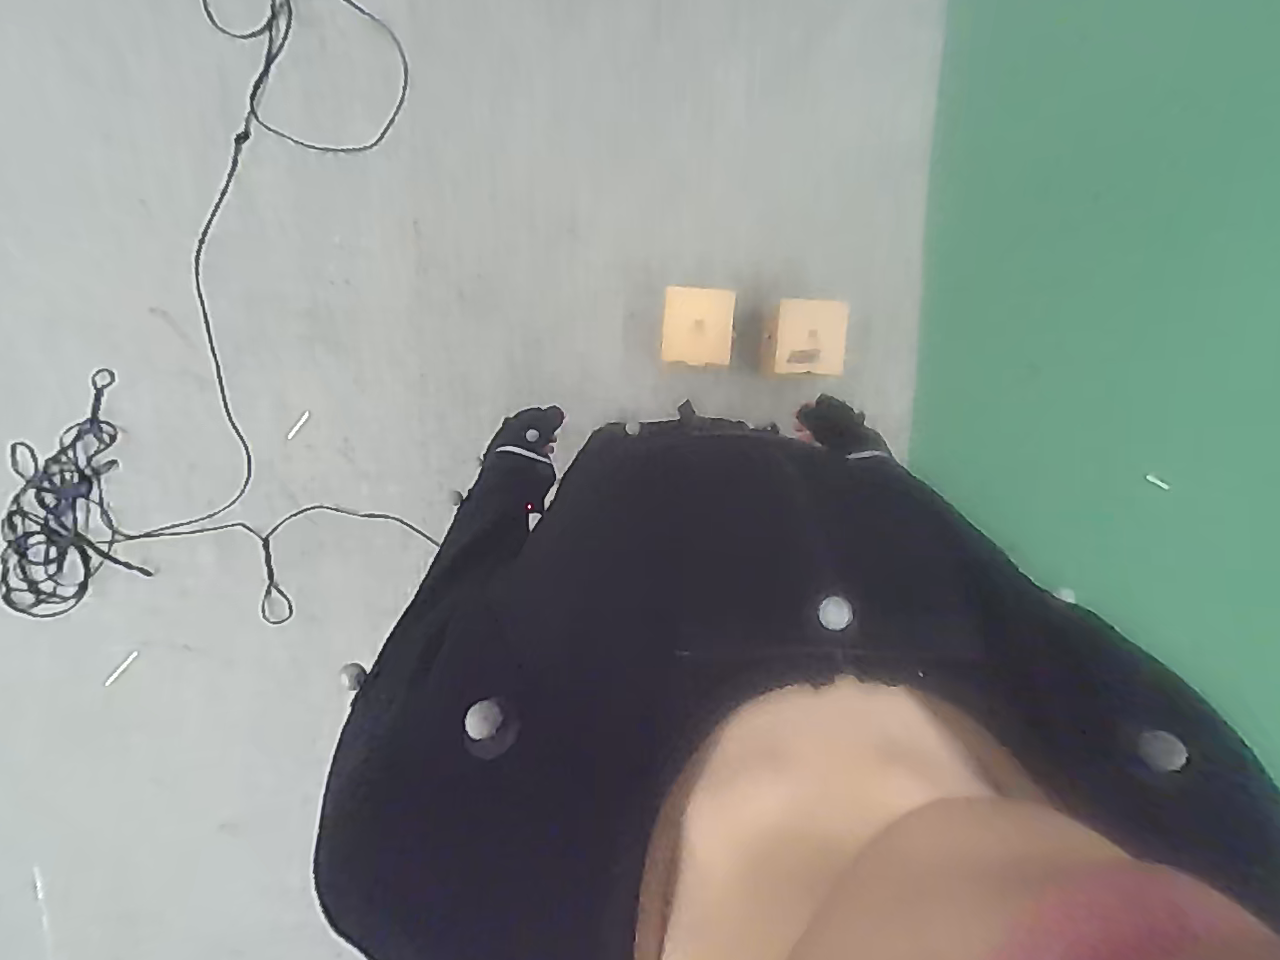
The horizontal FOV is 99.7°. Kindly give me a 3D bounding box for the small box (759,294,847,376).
[{"bbox_3d":[0.401,-0.356,1.356,0.168,0.176,0.179,3,96,-1],"label":"small box"}]

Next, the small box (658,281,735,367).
[{"bbox_3d":[0.133,-0.382,1.350,0.168,0.176,0.179,4,97,-1],"label":"small box"}]
